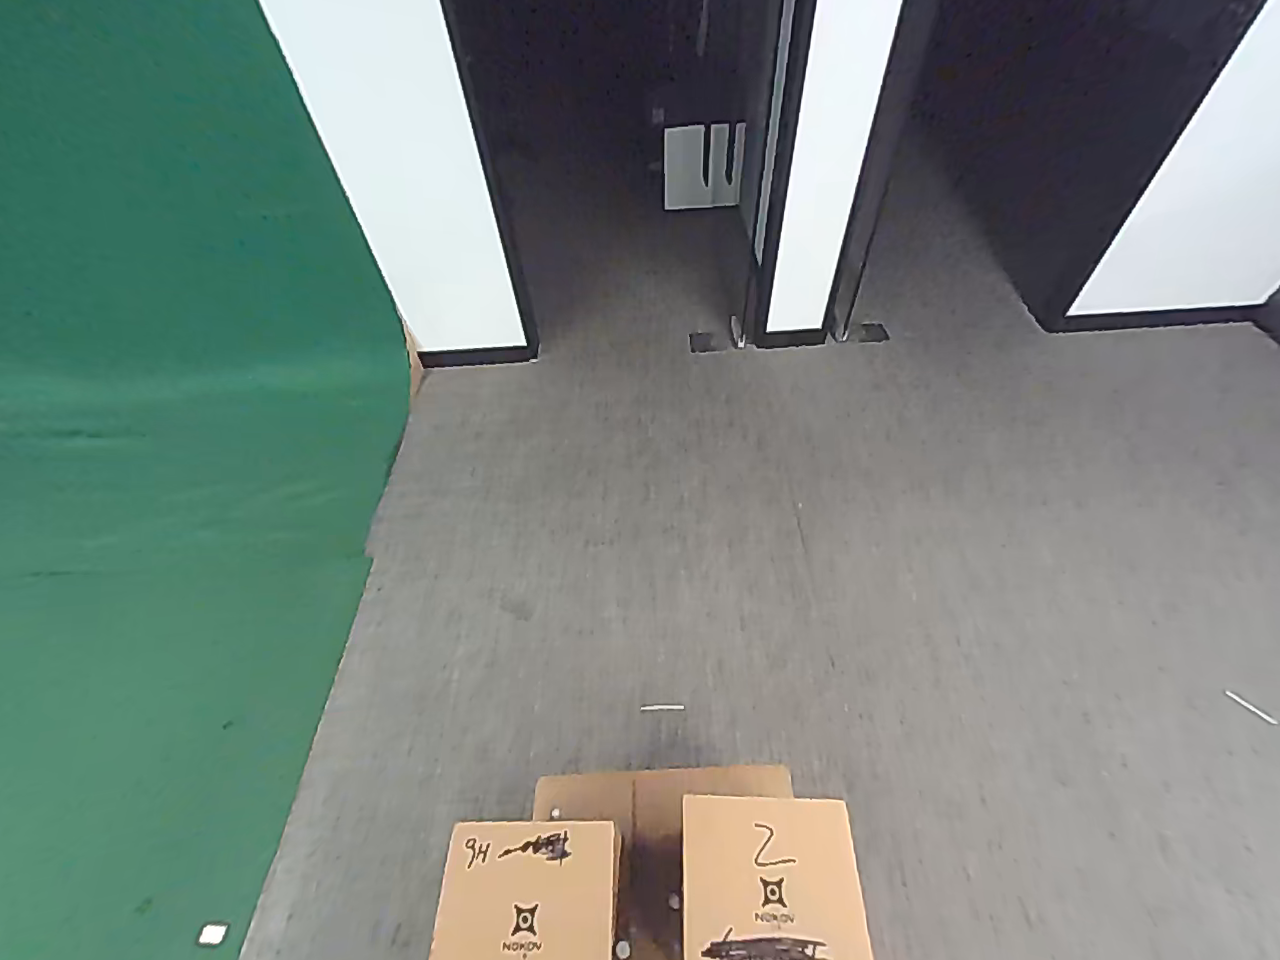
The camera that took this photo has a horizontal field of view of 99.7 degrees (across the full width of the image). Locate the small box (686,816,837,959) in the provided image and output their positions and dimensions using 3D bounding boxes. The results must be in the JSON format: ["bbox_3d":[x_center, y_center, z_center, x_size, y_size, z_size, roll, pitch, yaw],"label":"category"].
[{"bbox_3d":[0.143,0.542,0.685,0.168,0.176,0.179,-1,50,4],"label":"small box"}]

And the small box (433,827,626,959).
[{"bbox_3d":[-0.101,0.467,0.555,0.168,0.176,0.179,-1,53,2],"label":"small box"}]

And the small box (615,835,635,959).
[{"bbox_3d":[-0.094,0.565,0.686,0.168,0.176,0.179,-2,52,1],"label":"small box"}]
